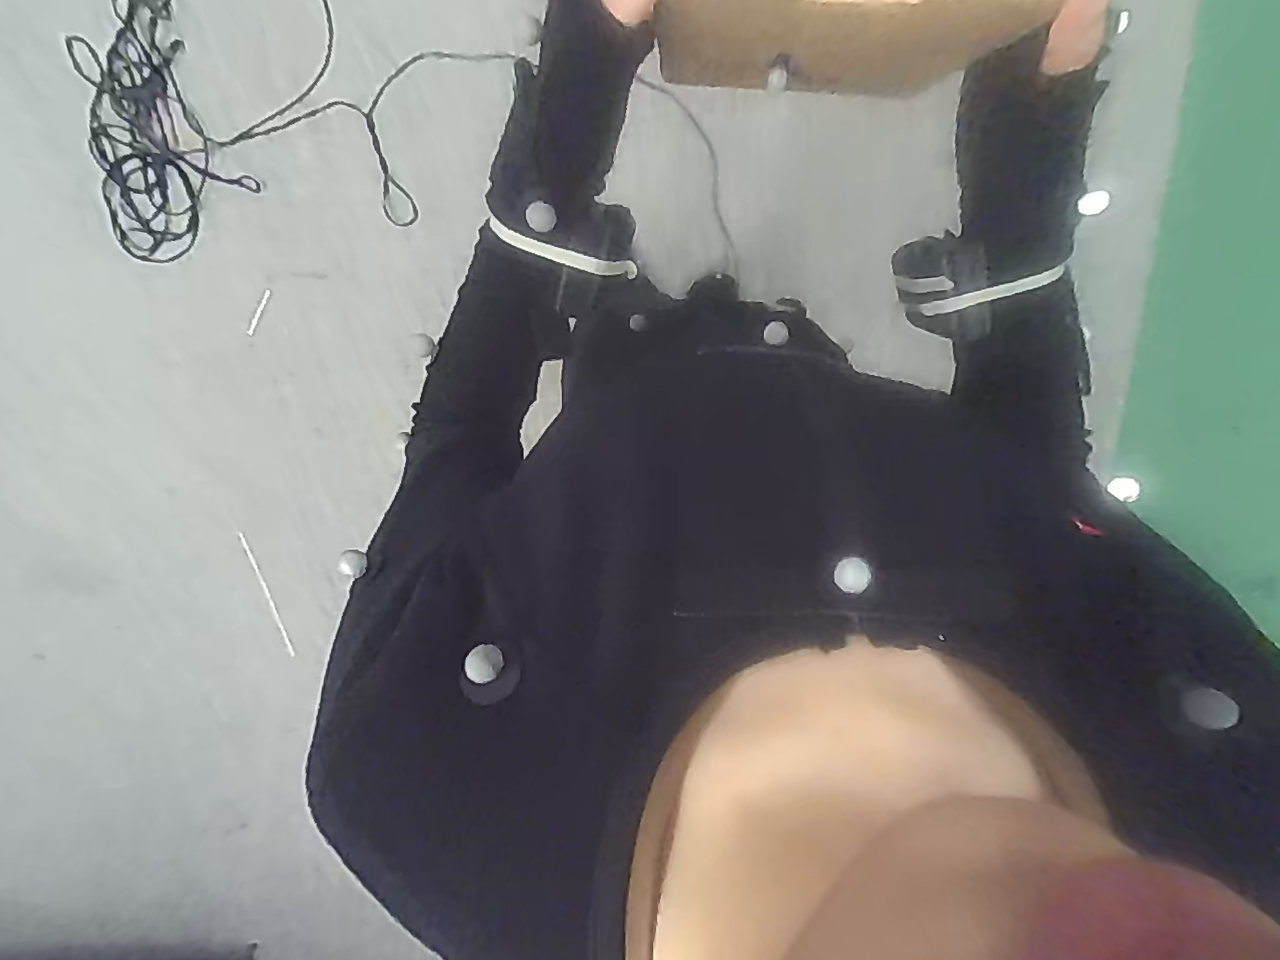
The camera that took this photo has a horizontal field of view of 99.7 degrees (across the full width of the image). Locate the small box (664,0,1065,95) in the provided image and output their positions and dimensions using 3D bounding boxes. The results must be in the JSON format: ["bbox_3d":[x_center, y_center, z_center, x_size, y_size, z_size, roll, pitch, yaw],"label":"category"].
[{"bbox_3d":[0.098,-0.300,0.241,0.168,0.176,0.179,5,115,2],"label":"small box"}]
